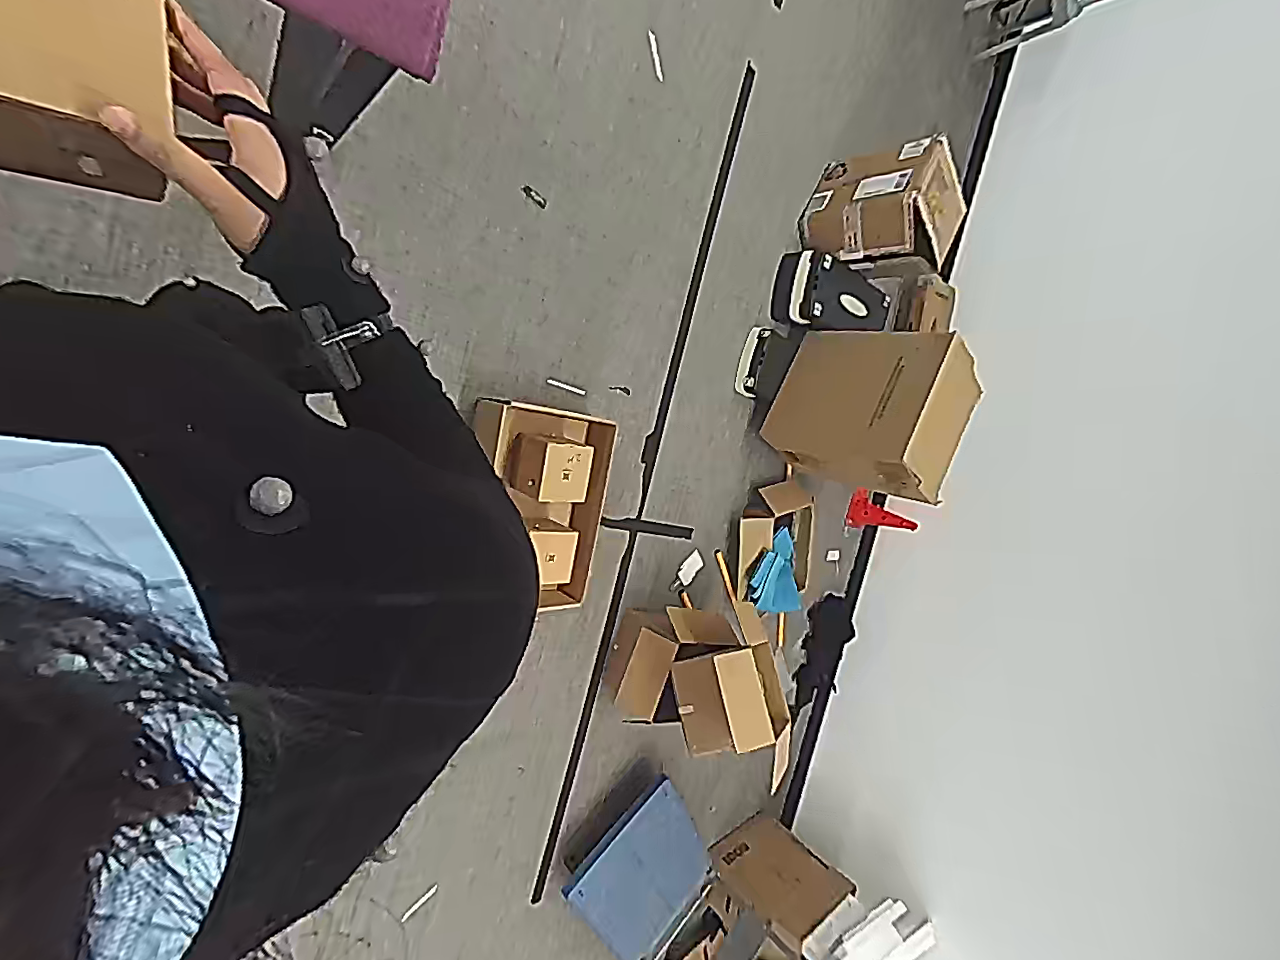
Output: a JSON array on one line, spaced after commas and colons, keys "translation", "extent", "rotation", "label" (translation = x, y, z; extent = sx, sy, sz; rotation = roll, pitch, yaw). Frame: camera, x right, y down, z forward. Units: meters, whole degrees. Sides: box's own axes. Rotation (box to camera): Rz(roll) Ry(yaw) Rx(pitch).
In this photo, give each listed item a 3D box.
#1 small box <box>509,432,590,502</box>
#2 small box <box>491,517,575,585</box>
[{"translation": [-0.277, -0.040, 1.633], "extent": [0.168, 0.176, 0.179], "rotation": [3, 101, -43], "label": "small box"}, {"translation": [-0.330, 0.213, 1.663], "extent": [0.179, 0.176, 0.168], "rotation": [6, 97, -42], "label": "small box"}]
